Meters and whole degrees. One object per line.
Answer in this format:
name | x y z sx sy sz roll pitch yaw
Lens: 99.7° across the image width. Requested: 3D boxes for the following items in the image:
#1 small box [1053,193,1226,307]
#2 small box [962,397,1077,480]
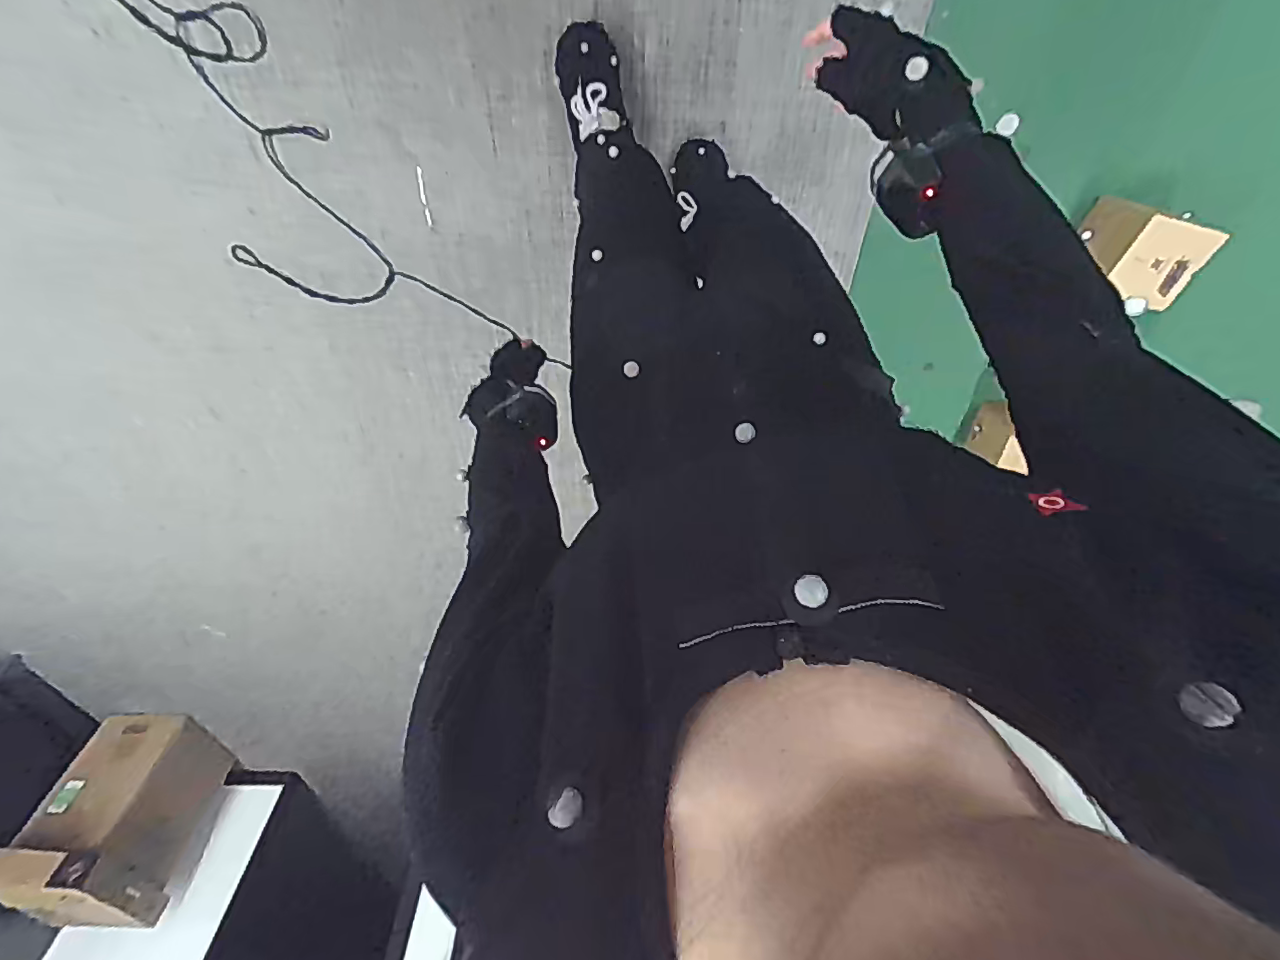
small box | 1.063 -0.500 1.170 0.179 0.176 0.168 11 129 -7
small box | 1.041 -0.118 1.500 0.179 0.176 0.168 -2 130 2
